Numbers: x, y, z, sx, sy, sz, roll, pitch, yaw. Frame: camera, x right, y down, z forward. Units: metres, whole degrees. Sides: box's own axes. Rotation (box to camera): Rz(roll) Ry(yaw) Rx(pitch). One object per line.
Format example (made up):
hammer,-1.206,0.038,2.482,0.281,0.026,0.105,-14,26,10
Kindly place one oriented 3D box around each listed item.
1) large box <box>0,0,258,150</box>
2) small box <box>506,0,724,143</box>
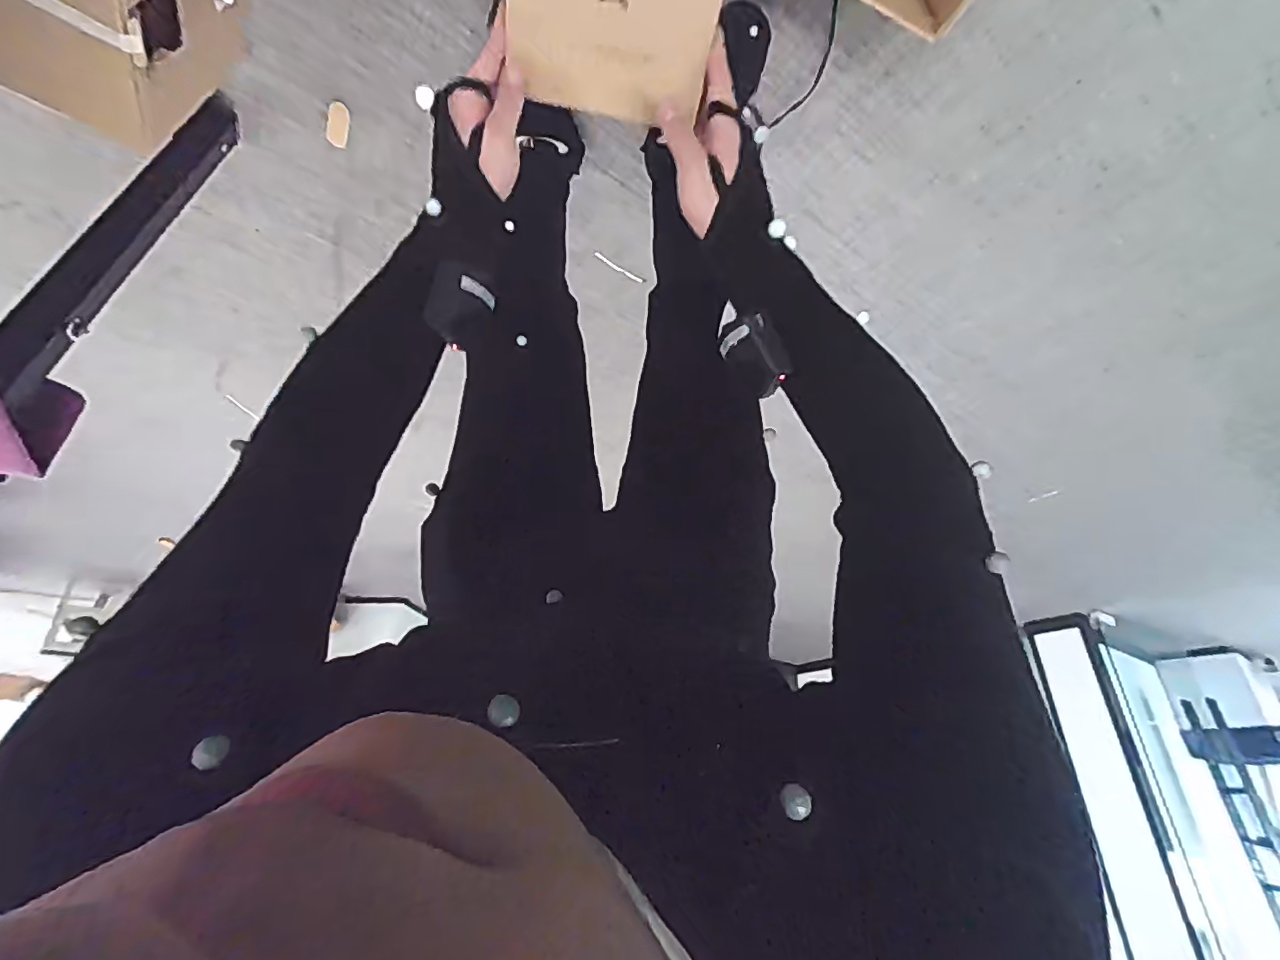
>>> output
large box,-0.748,-0.712,0.643,0.408,0.320,0.320,22,144,-24
small box,-0.018,-0.425,0.467,0.168,0.176,0.179,8,134,-6
